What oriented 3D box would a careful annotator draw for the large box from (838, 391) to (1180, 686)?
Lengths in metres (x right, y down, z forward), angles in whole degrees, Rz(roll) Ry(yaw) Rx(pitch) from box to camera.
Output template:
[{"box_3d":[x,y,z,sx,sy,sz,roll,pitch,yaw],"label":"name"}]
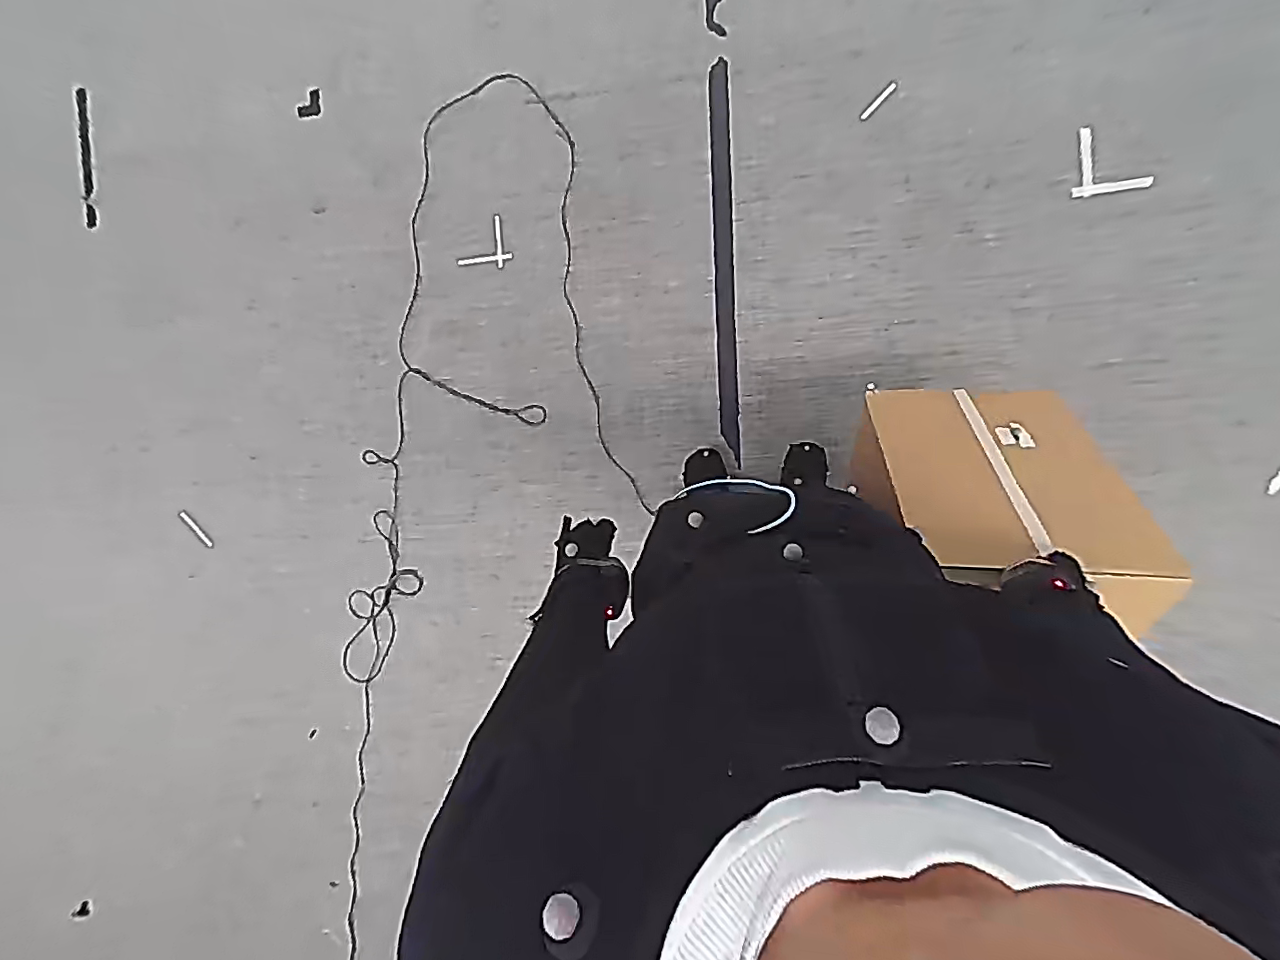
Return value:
[{"box_3d":[0.547,0.090,0.923,0.320,0.408,0.320,2,132,8],"label":"large box"}]
